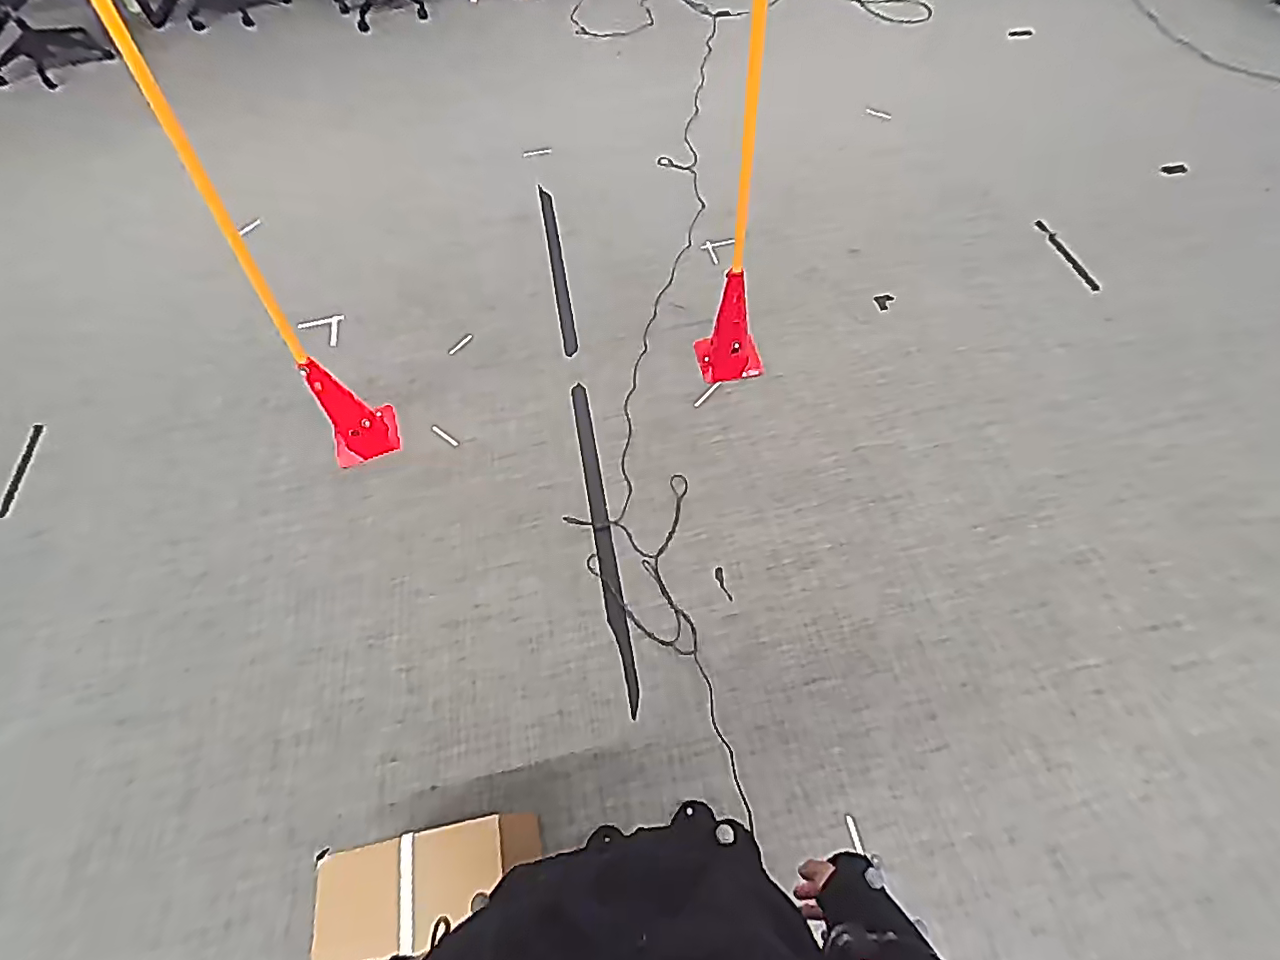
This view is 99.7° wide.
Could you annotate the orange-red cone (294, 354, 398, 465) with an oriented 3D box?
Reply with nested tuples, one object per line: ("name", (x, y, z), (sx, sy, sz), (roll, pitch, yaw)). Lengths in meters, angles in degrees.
("orange-red cone", (-0.895, -0.233, 1.591), (0.199, 0.360, 0.198), (-20, 60, -6))
